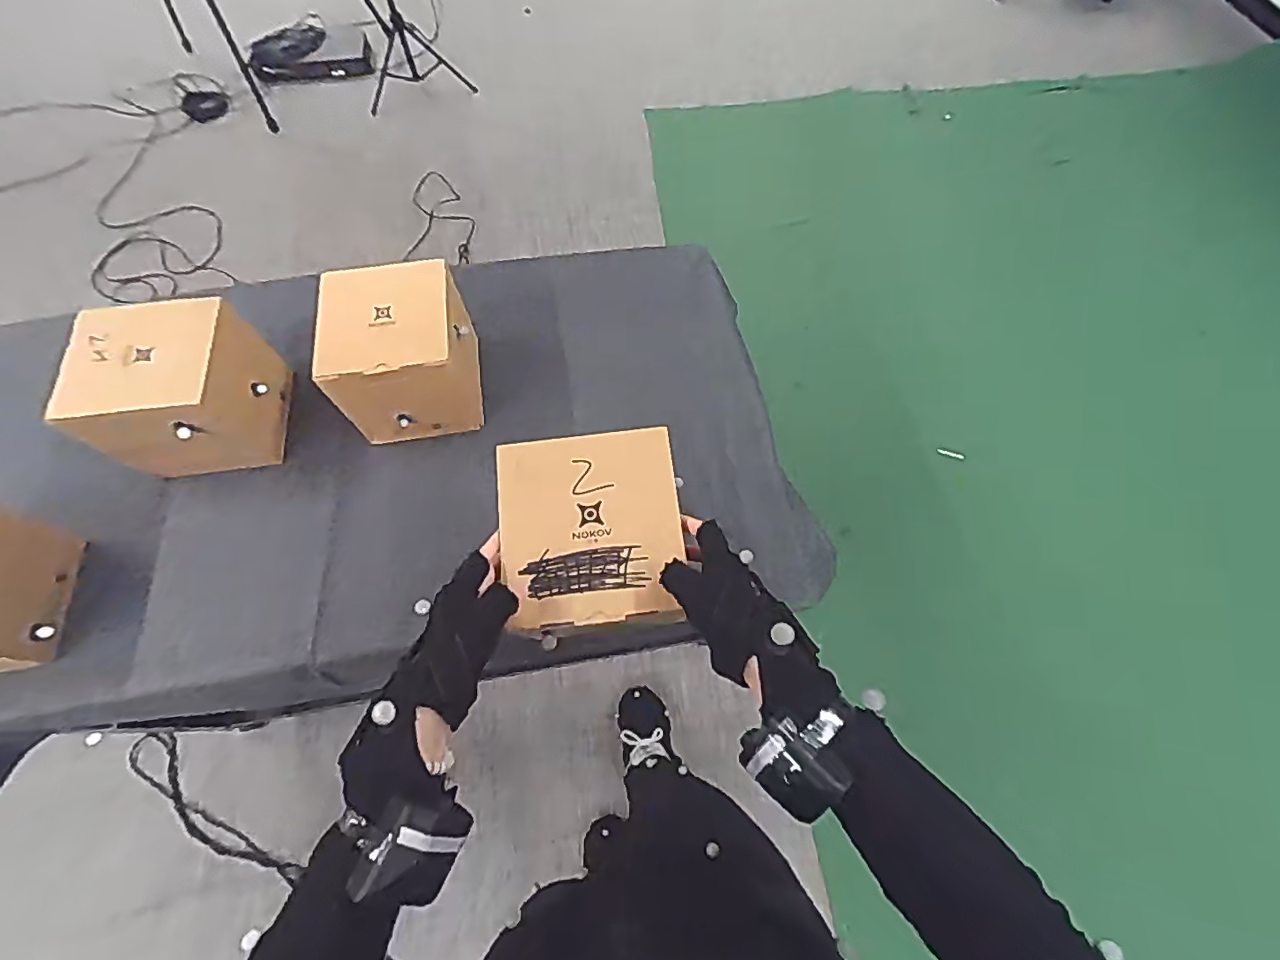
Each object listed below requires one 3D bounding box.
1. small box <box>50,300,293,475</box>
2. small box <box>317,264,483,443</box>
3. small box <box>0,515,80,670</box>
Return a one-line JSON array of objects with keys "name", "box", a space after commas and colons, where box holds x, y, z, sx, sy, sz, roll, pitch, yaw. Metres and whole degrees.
[{"name": "small box", "box": [-0.609, -0.119, 0.735, 0.179, 0.176, 0.168, -7, 66, -4]}, {"name": "small box", "box": [-0.327, -0.174, 0.770, 0.168, 0.176, 0.179, -8, 66, -5]}, {"name": "small box", "box": [-0.818, 0.130, 0.619, 0.179, 0.176, 0.168, -9, 65, -5]}]
